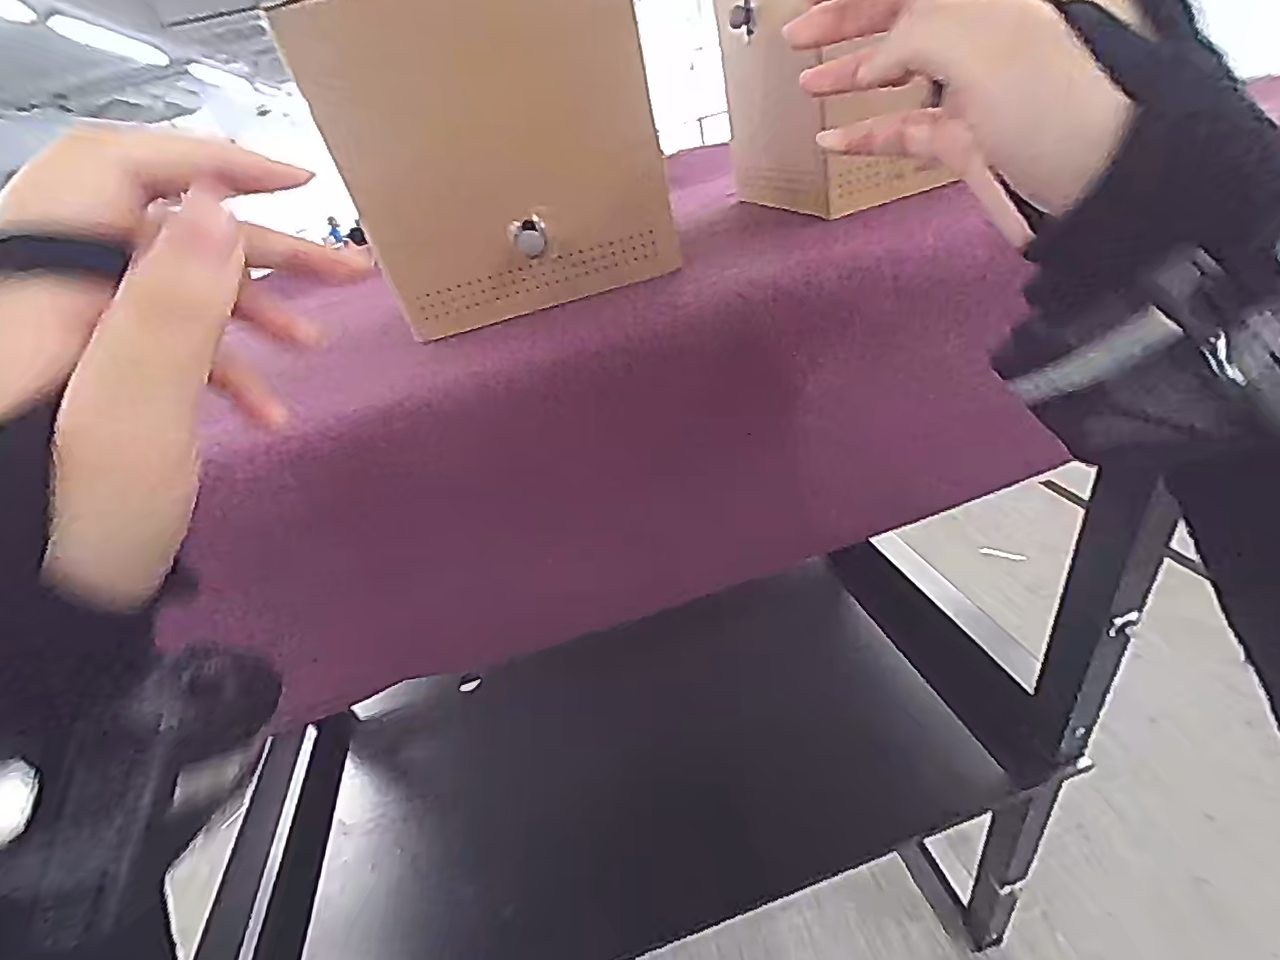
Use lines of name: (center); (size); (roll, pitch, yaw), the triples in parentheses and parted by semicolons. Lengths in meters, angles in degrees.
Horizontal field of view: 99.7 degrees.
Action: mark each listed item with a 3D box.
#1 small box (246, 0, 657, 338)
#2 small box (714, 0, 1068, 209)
small box: (-0.094, -0.214, 0.357); (0.179, 0.176, 0.168); (-17, 32, -3)
small box: (0.159, -0.305, 0.383); (0.168, 0.176, 0.179); (-18, 33, -2)
